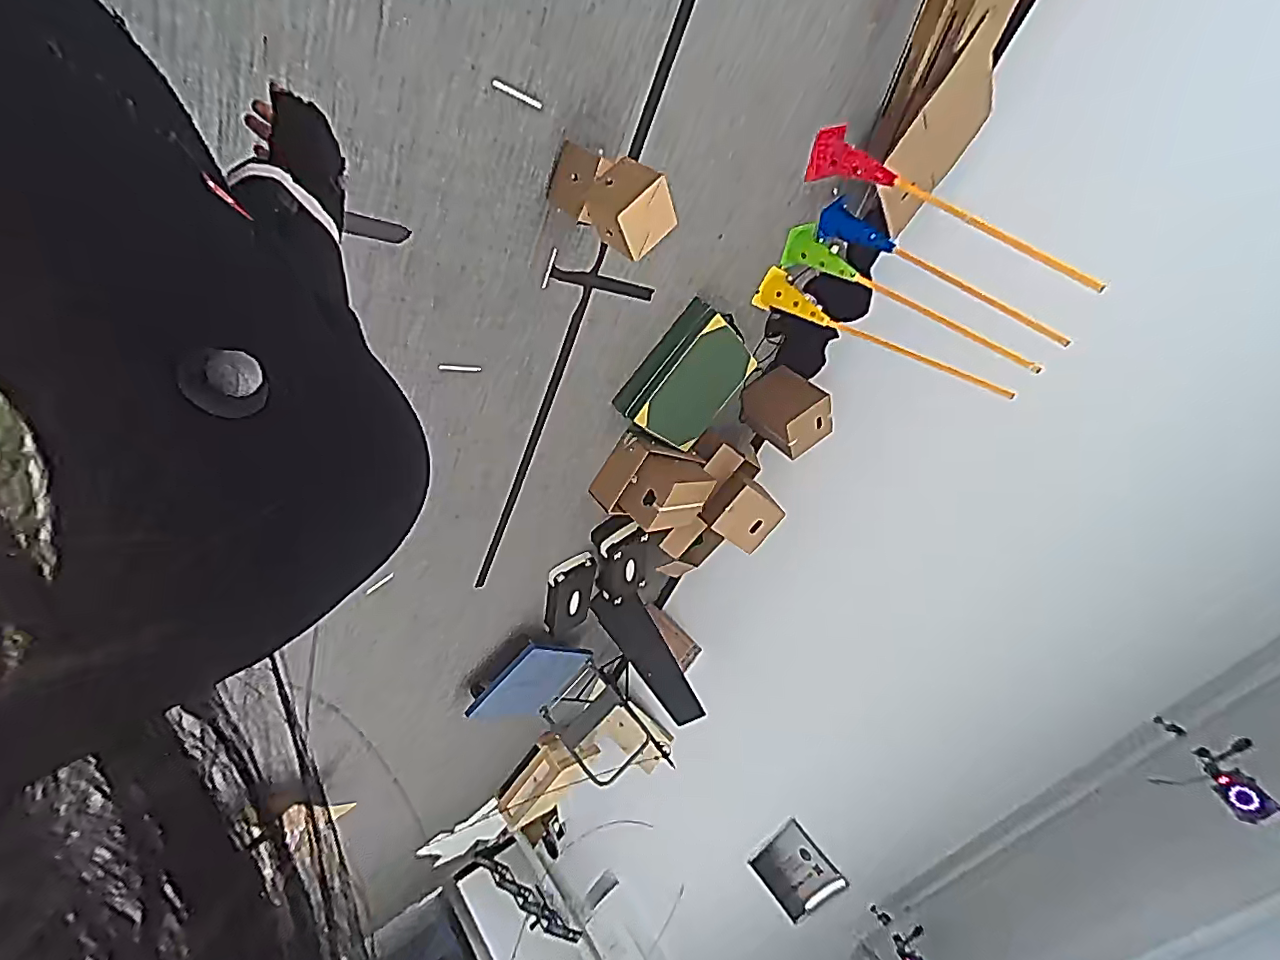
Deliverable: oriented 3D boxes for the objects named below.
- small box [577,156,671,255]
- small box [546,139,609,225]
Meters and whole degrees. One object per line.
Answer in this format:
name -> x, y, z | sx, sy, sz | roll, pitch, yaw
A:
small box -> -0.041, -0.773, 1.538 | 0.179, 0.176, 0.168 | -45, 152, -4
small box -> -0.156, -0.873, 1.609 | 0.168, 0.176, 0.179 | -8, 133, -50
